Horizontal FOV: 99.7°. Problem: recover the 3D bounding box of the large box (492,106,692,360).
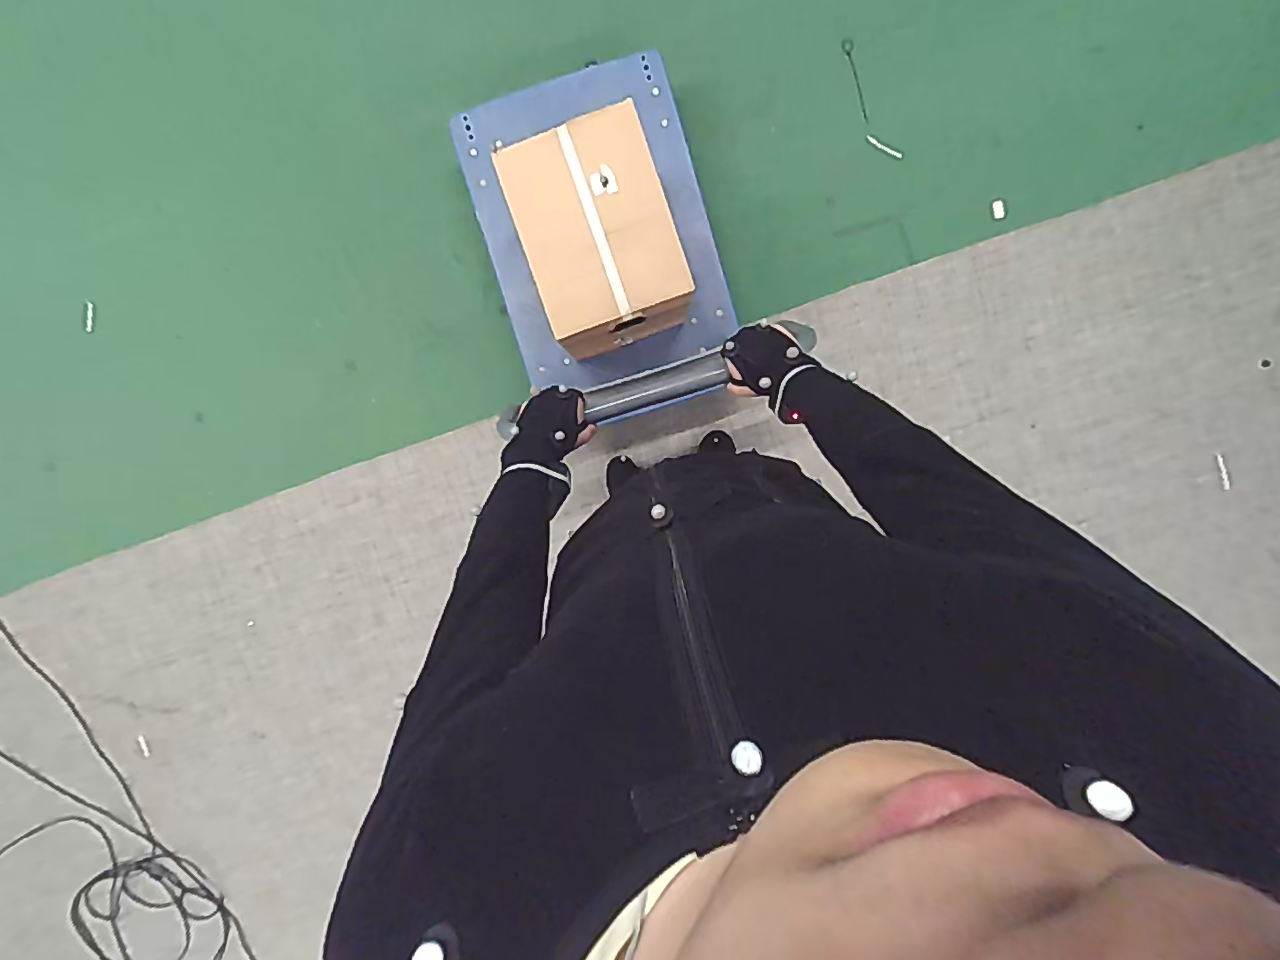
[{"bbox_3d":[-0.093,-0.542,1.274,0.320,0.320,0.408,-19,94,3],"label":"large box"}]
